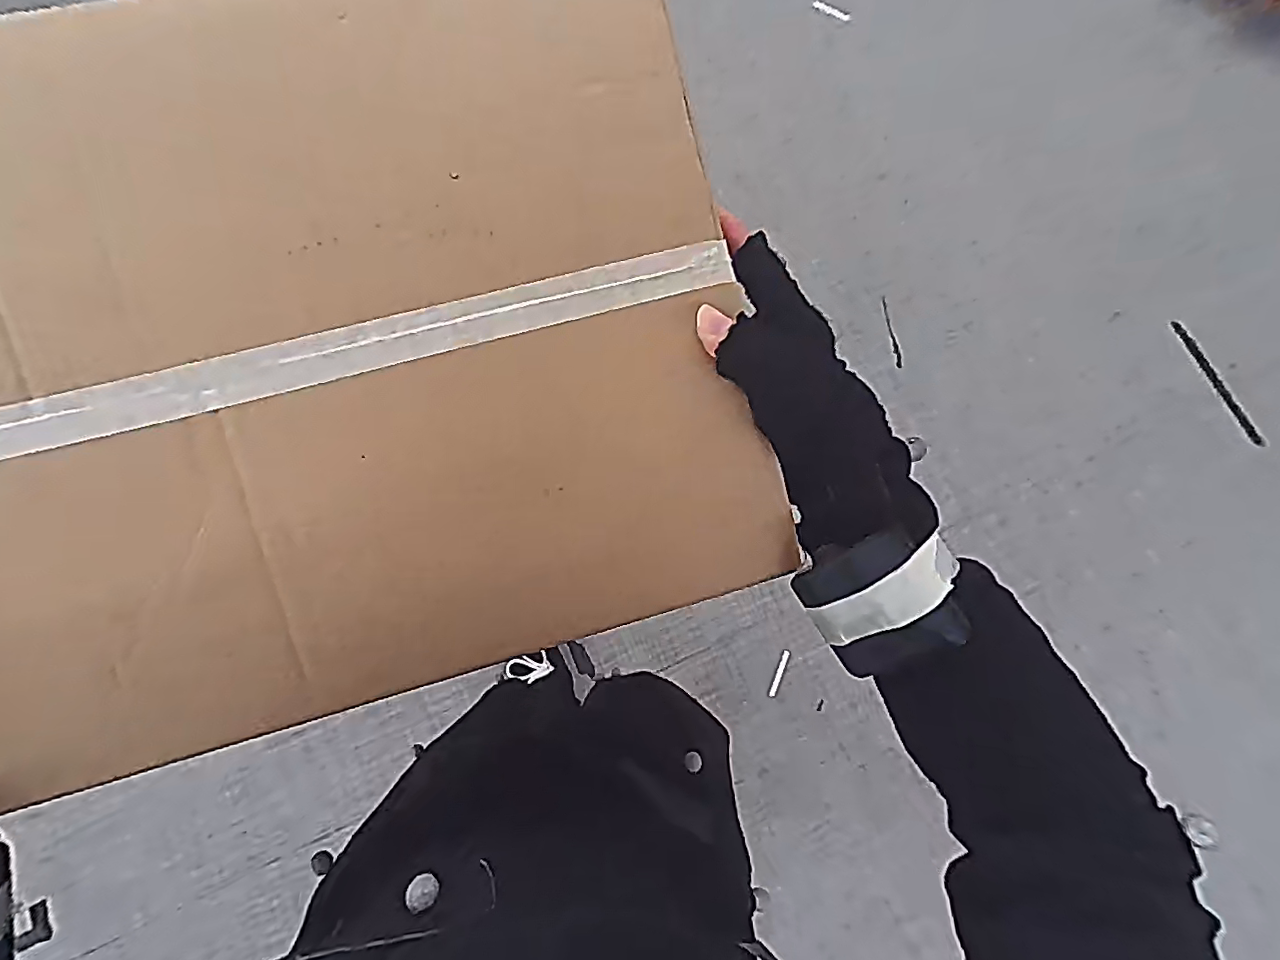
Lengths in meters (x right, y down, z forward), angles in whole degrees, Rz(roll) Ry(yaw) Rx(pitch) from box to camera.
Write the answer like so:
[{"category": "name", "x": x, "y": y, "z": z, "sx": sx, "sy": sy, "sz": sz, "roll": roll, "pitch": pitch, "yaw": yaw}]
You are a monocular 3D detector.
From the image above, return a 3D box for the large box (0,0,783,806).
[{"category": "large box", "x": -0.168, "y": -0.061, "z": 0.398, "sx": 0.408, "sy": 0.320, "sz": 0.320, "roll": -15, "pitch": 95, "yaw": -7}]
